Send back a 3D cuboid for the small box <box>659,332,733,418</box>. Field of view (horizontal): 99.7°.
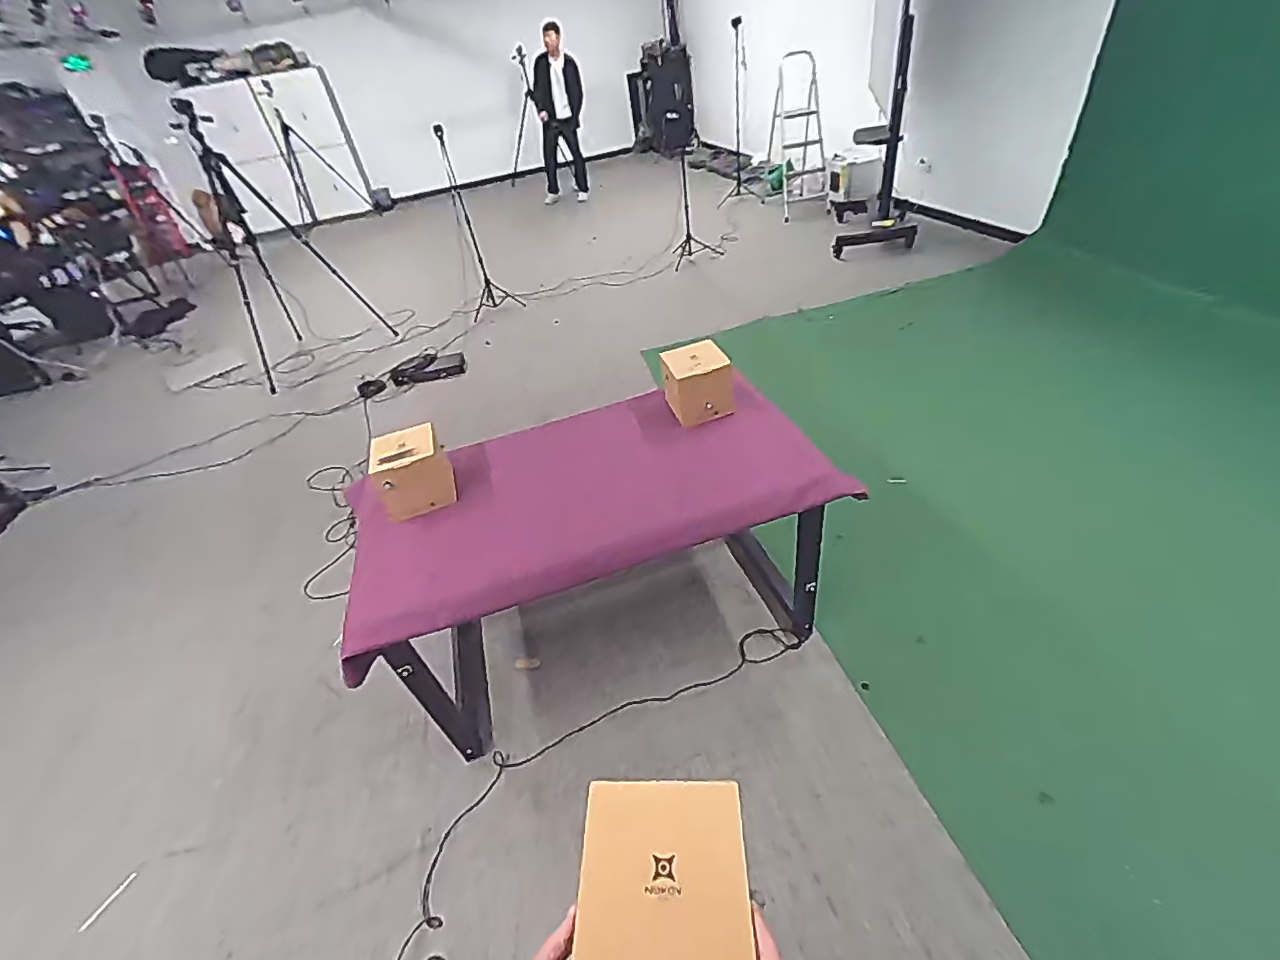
[{"bbox_3d":[0.167,-0.309,1.602,0.168,0.176,0.179,-18,42,-5],"label":"small box"}]

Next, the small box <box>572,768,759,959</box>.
[{"bbox_3d":[0.027,0.437,0.578,0.168,0.176,0.179,-1,38,3],"label":"small box"}]
